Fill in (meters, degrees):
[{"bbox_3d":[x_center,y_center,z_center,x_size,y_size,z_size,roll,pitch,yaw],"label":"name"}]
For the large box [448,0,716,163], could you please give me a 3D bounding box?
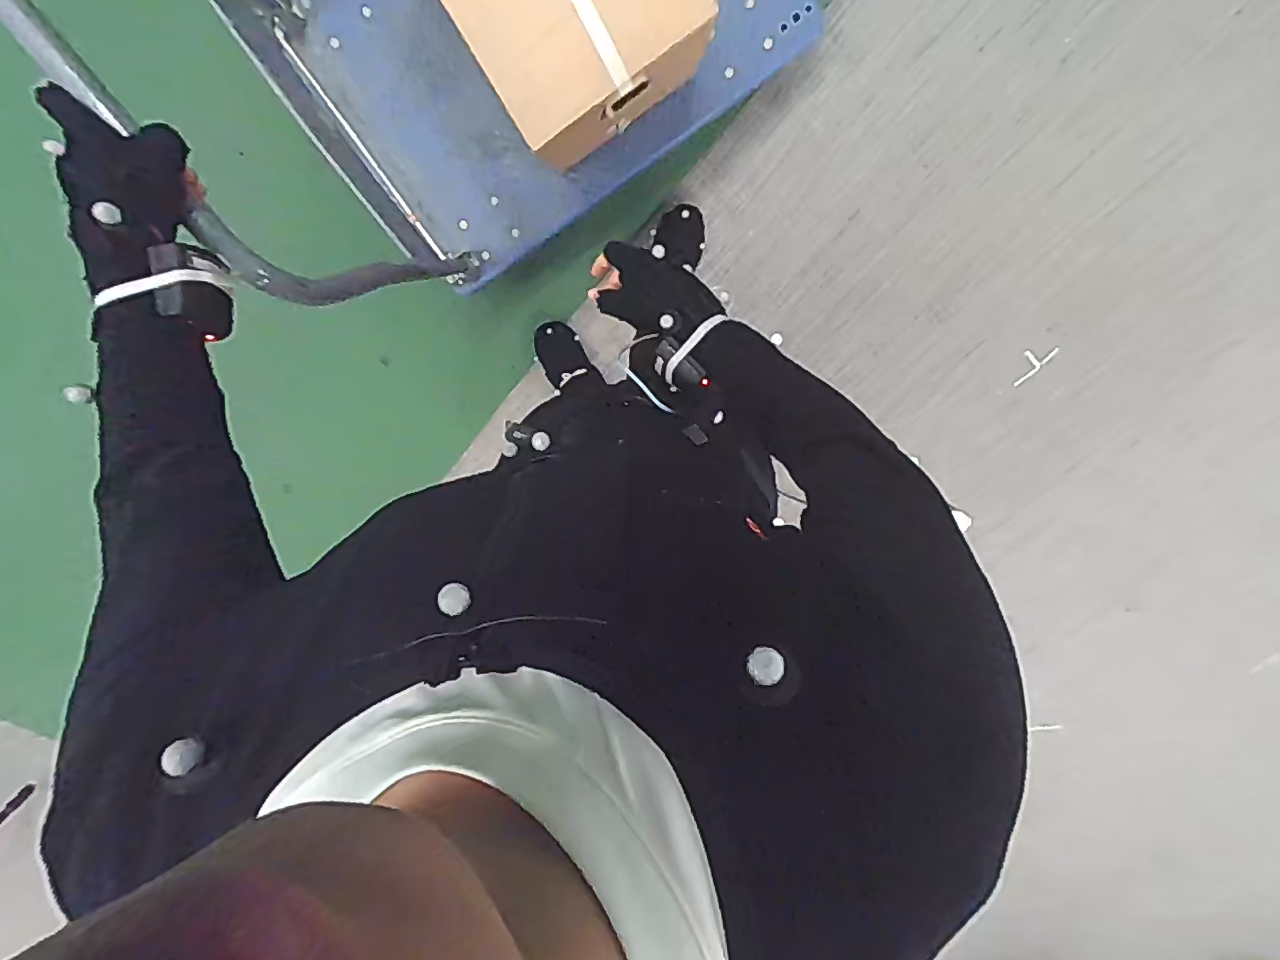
[{"bbox_3d":[-0.124,-0.778,0.822,0.320,0.320,0.408,-29,111,12],"label":"large box"}]
